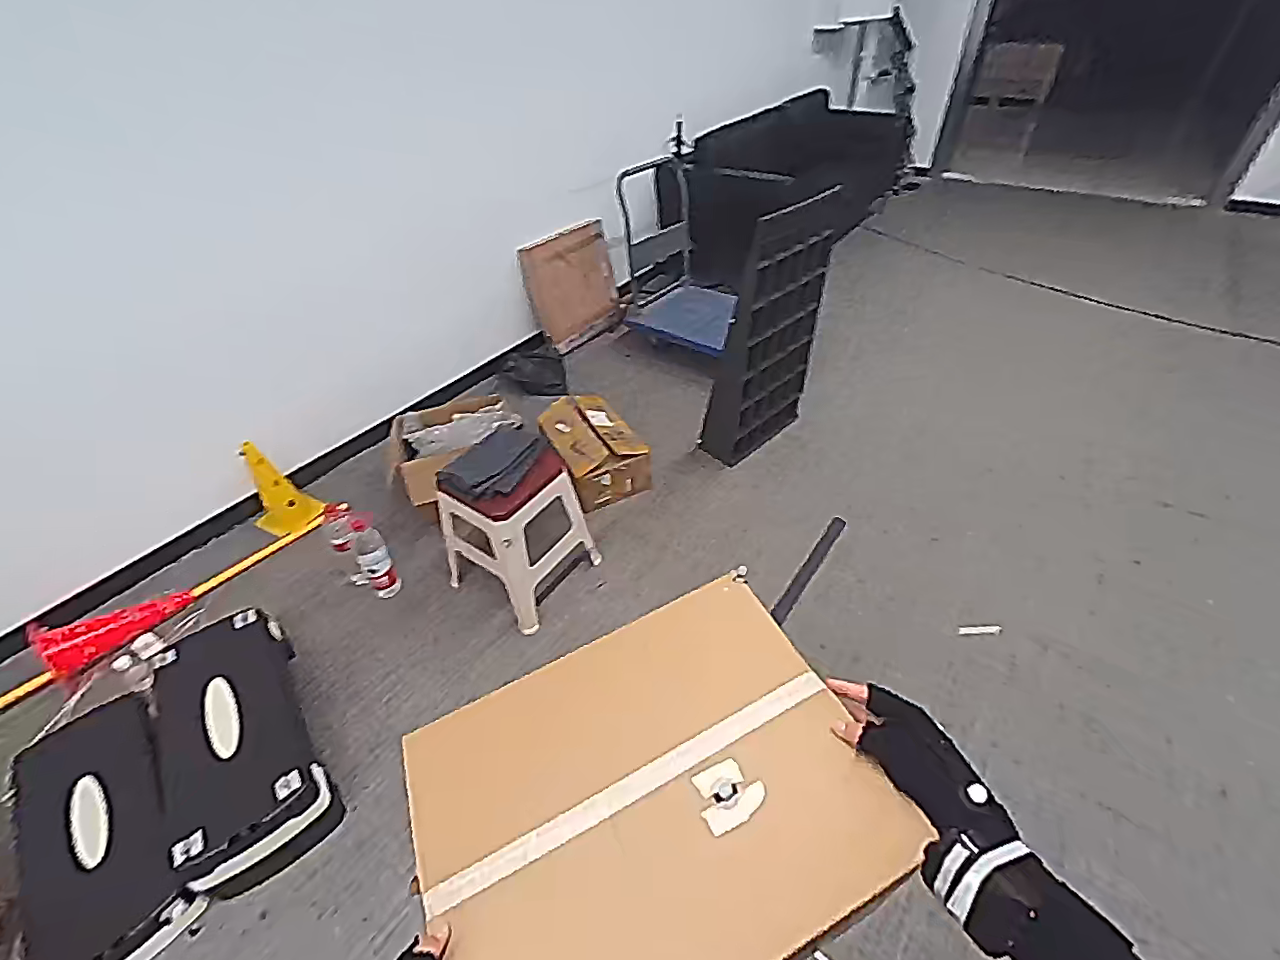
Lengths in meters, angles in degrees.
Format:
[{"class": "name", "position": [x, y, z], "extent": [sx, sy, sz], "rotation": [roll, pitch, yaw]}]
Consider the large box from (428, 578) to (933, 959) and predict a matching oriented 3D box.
[{"class": "large box", "position": [0.032, 0.391, 0.620], "extent": [0.408, 0.320, 0.320], "rotation": [-23, 46, -12]}]
